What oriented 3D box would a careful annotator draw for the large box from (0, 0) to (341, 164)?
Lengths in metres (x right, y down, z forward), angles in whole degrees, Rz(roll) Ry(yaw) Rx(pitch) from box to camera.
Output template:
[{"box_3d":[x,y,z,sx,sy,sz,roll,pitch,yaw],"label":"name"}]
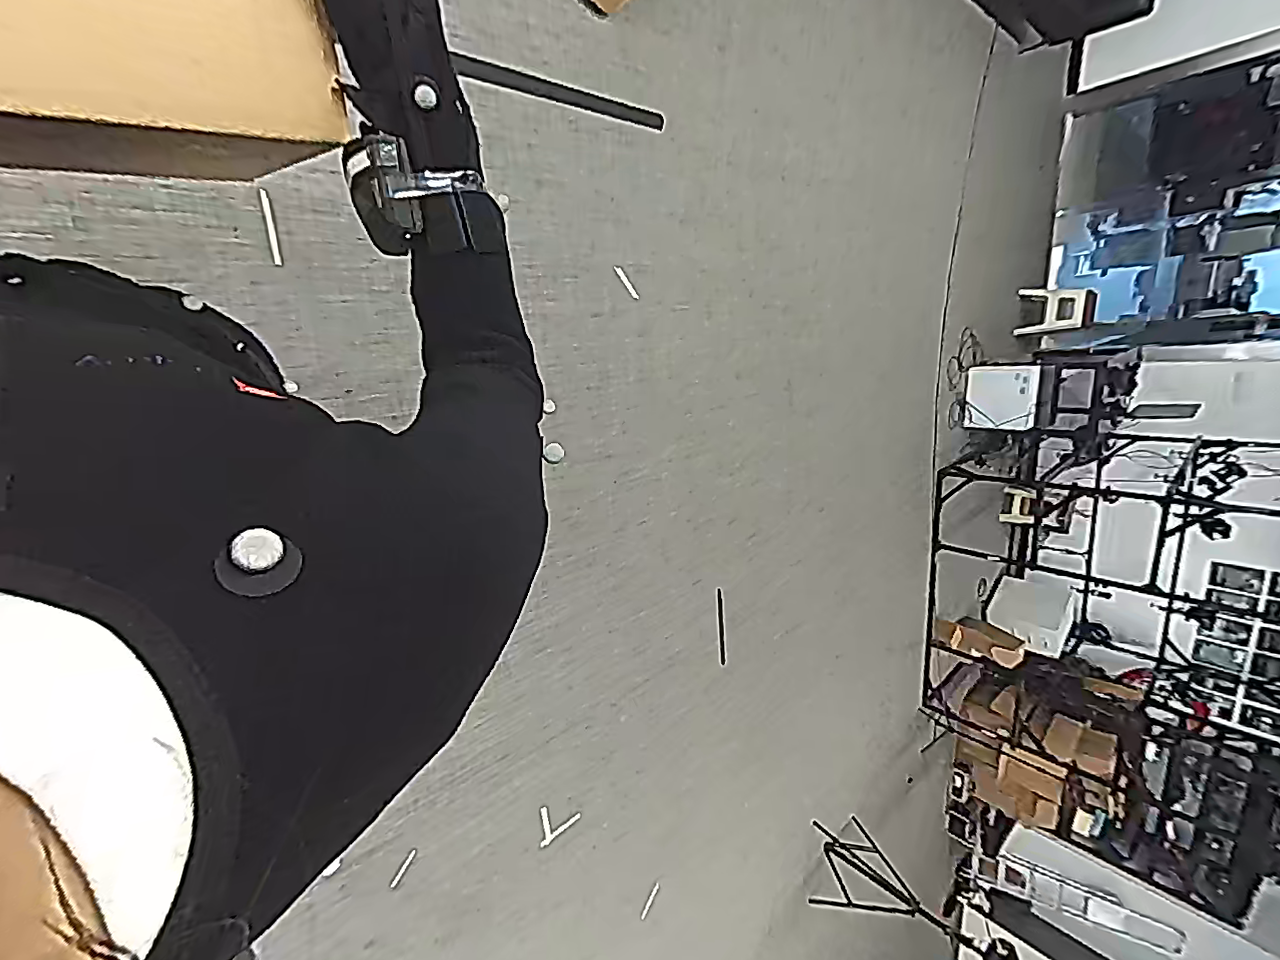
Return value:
[{"box_3d":[-0.448,-0.359,0.273,0.408,0.320,0.320,-23,124,-40],"label":"large box"}]
